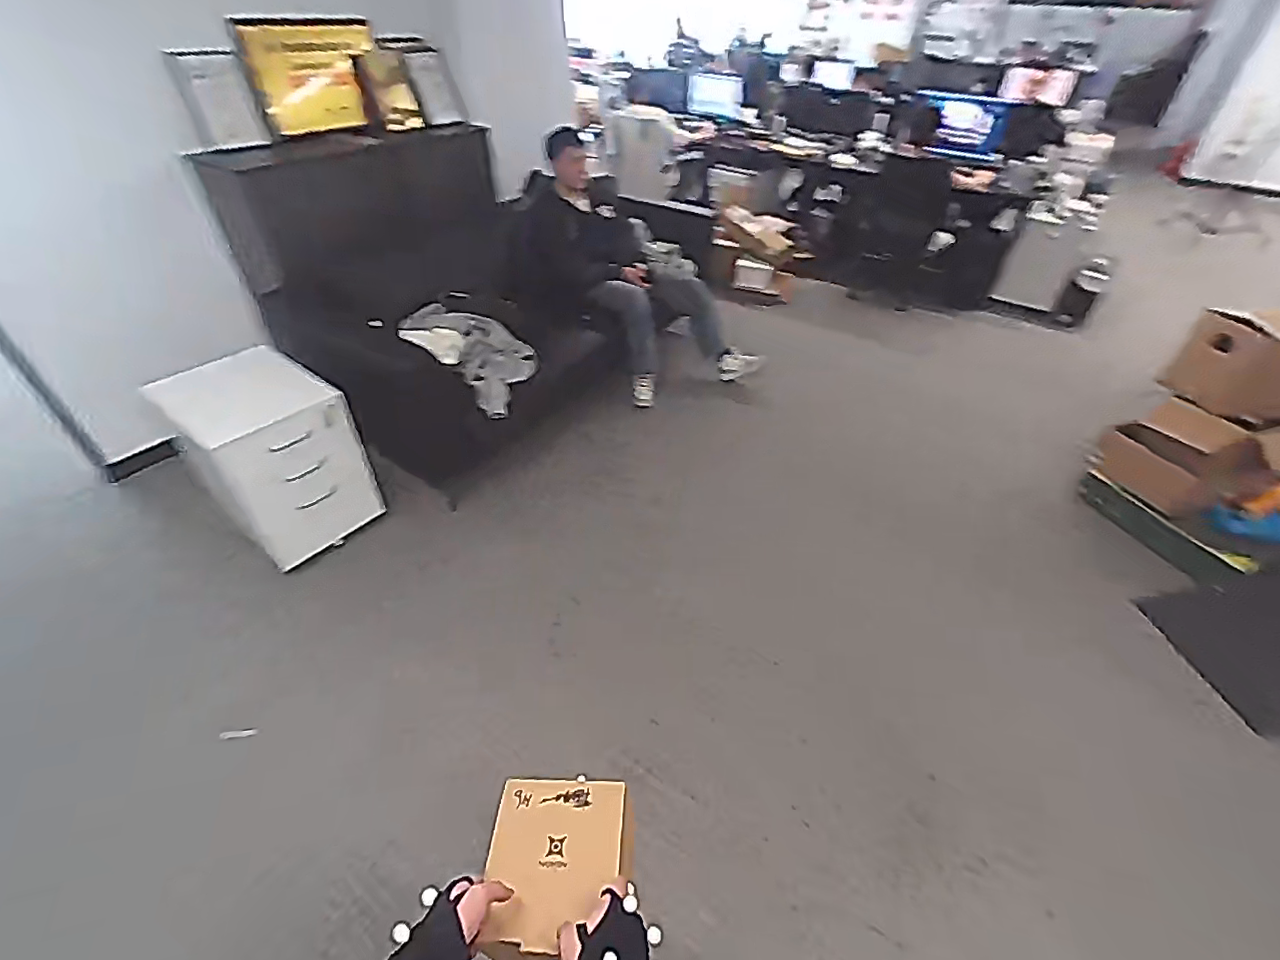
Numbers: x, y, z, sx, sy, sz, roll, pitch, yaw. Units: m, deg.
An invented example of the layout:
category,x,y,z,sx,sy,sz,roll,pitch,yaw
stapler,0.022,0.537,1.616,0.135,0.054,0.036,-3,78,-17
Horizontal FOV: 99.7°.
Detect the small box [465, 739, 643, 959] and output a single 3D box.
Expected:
category,x,y,z,sx,sy,sz,roll,pitch,yaw
small box,-0.111,0.500,0.730,0.179,0.176,0.168,-22,41,-17
